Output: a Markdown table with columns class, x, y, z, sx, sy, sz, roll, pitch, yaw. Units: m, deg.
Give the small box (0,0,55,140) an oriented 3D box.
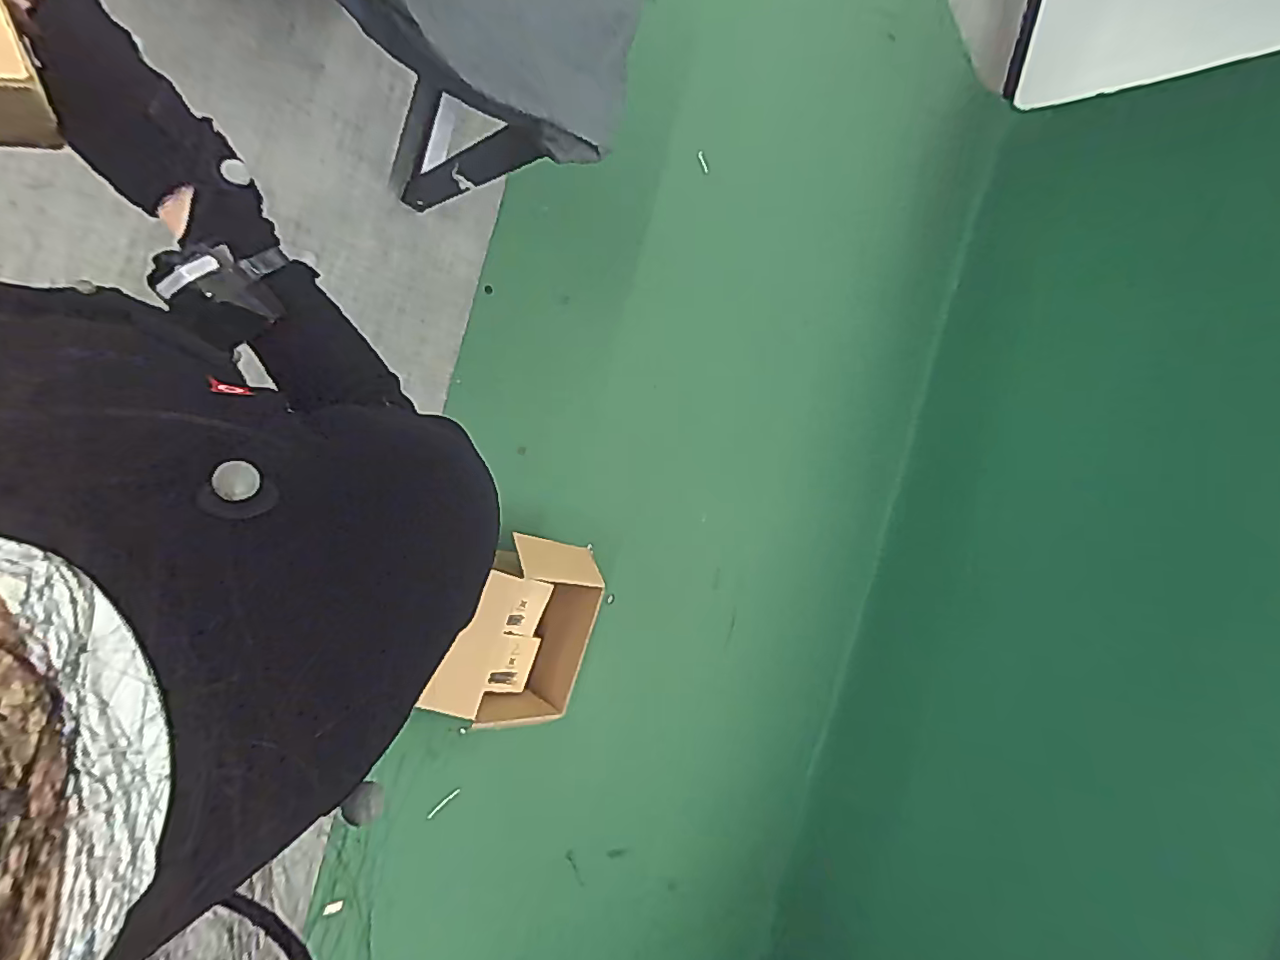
| class | x | y | z | sx | sy | sz | roll | pitch | yaw |
| --- | --- | --- | --- | --- | --- | --- | --- | --- | --- |
| small box | -0.409 | -0.267 | 0.235 | 0.168 | 0.176 | 0.179 | -24 | 122 | -37 |
